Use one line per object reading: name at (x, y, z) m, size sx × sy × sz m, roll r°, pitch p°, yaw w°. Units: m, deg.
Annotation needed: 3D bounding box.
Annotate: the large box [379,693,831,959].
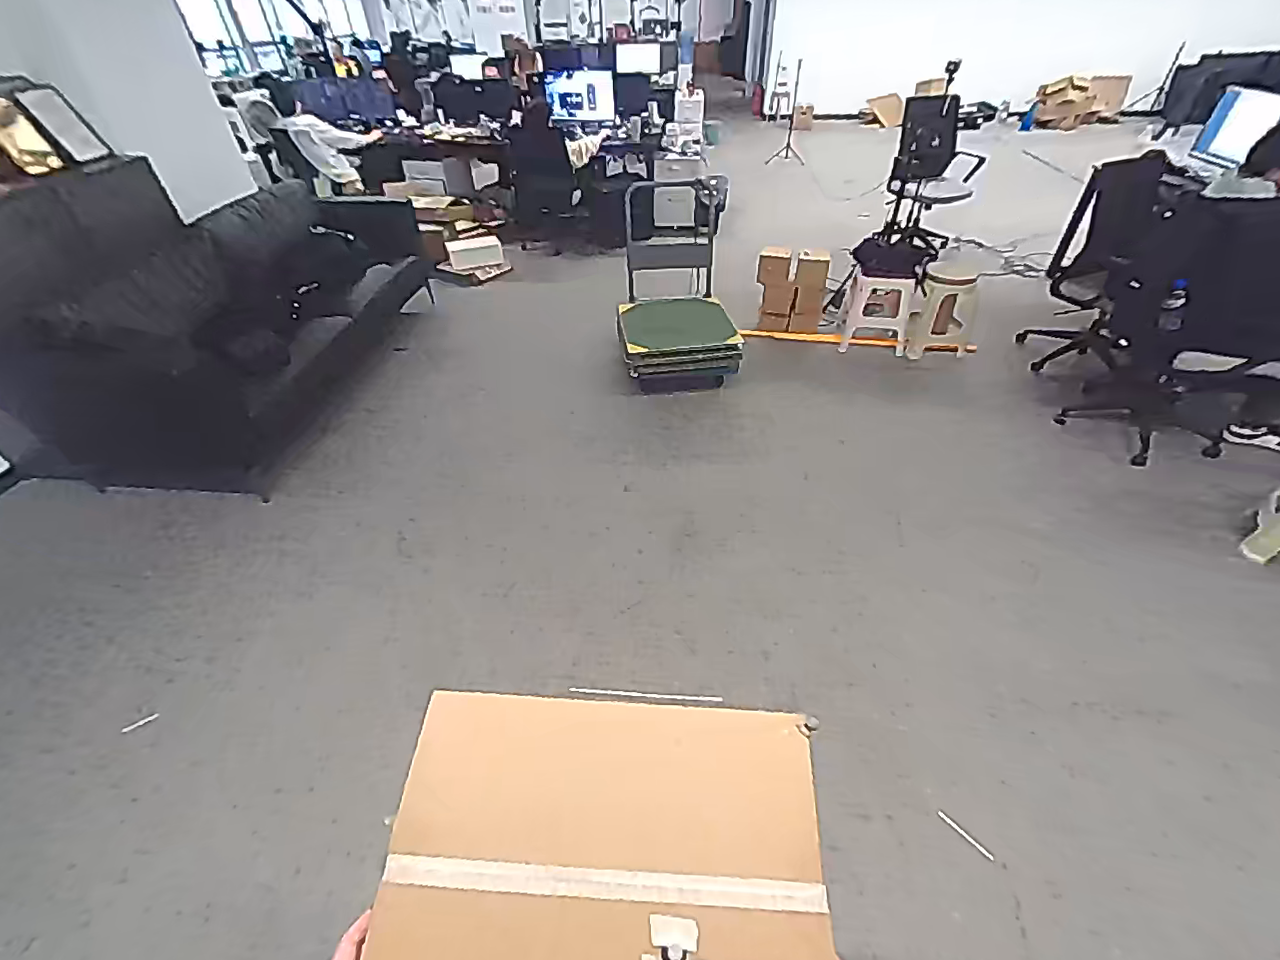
large box at (-0.031, 0.454, 0.631) m, size 0.408 × 0.320 × 0.320 m, roll 3°, pitch 56°, yaw 1°
